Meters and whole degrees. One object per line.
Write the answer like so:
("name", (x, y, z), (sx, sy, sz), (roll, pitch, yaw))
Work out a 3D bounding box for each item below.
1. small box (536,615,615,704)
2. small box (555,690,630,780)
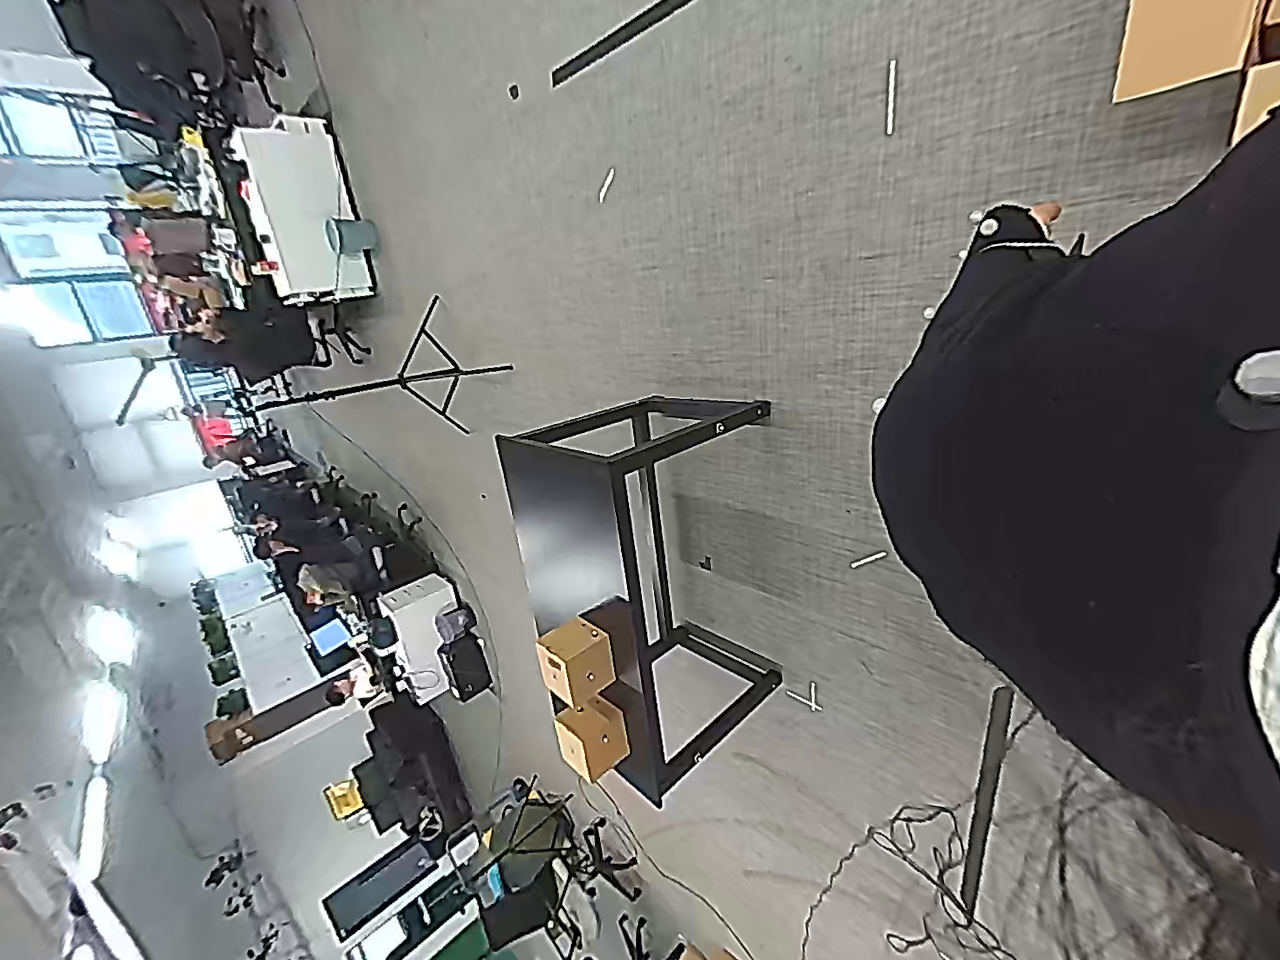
("small box", (-0.198, 0.552, 1.693), (0.168, 0.176, 0.179), (16, 121, 46))
("small box", (-0.155, 0.830, 1.785), (0.168, 0.176, 0.179), (12, 117, 48))
